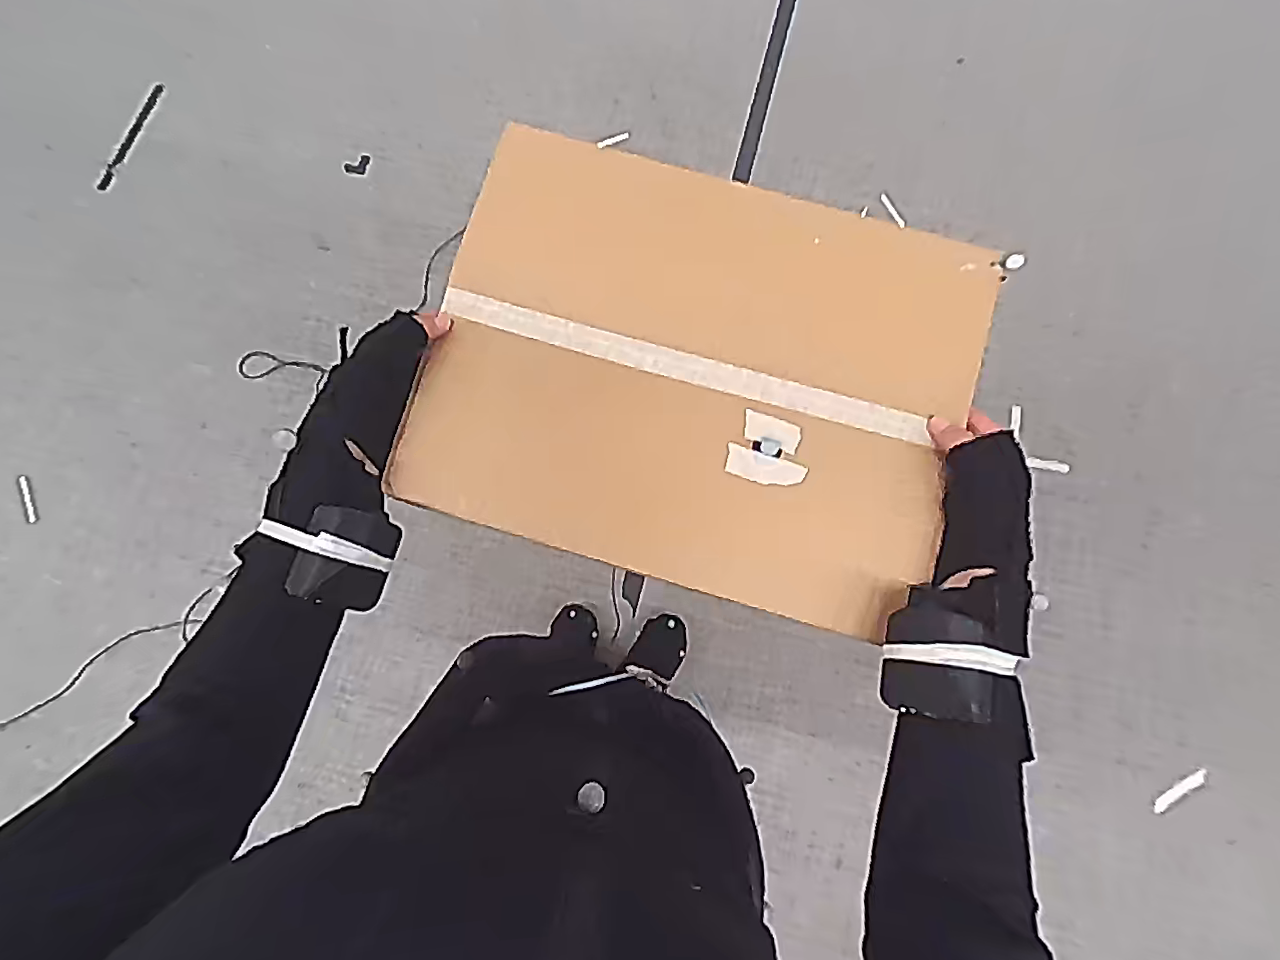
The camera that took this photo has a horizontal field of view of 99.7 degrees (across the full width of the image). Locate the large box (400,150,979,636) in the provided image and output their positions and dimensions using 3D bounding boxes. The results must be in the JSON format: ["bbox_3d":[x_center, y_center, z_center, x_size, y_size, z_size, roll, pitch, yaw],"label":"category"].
[{"bbox_3d":[0.043,-0.061,0.571,0.408,0.320,0.320,16,84,2],"label":"large box"}]
